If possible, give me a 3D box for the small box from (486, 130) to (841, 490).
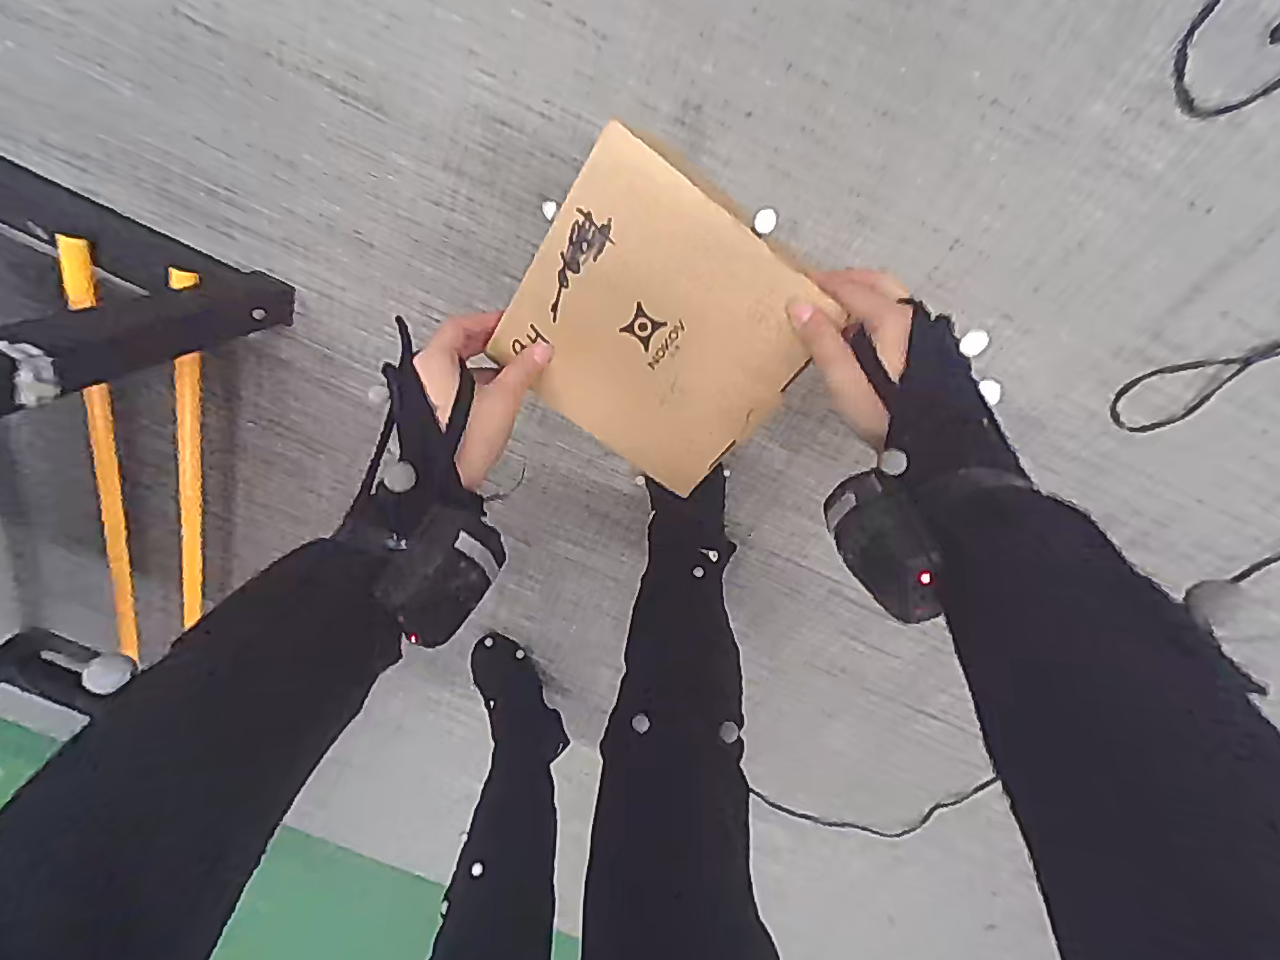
[{"bbox_3d":[0.021,-0.131,0.416,0.179,0.176,0.168,35,119,-9],"label":"small box"}]
